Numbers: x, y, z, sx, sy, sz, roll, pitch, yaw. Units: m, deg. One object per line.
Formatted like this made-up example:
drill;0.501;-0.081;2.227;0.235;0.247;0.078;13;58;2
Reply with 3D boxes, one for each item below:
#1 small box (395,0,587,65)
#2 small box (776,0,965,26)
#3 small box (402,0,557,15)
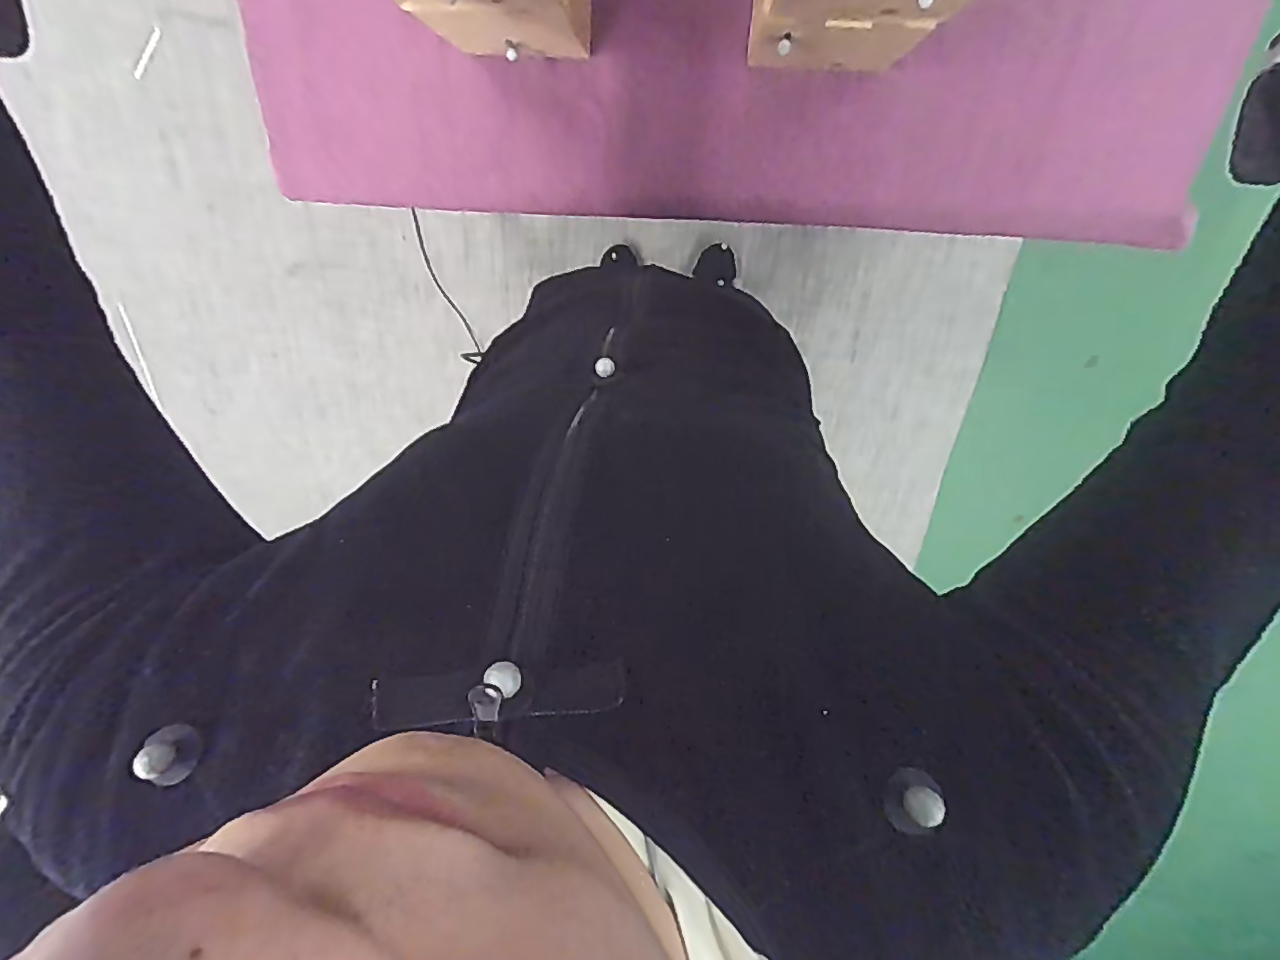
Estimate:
small box;-0.148;-0.567;0.564;0.168;0.176;0.179;5;116;3
small box;0.198;-0.469;0.400;0.168;0.176;0.179;4;115;2
small box;-0.160;-0.500;0.416;0.168;0.176;0.179;3;116;3
